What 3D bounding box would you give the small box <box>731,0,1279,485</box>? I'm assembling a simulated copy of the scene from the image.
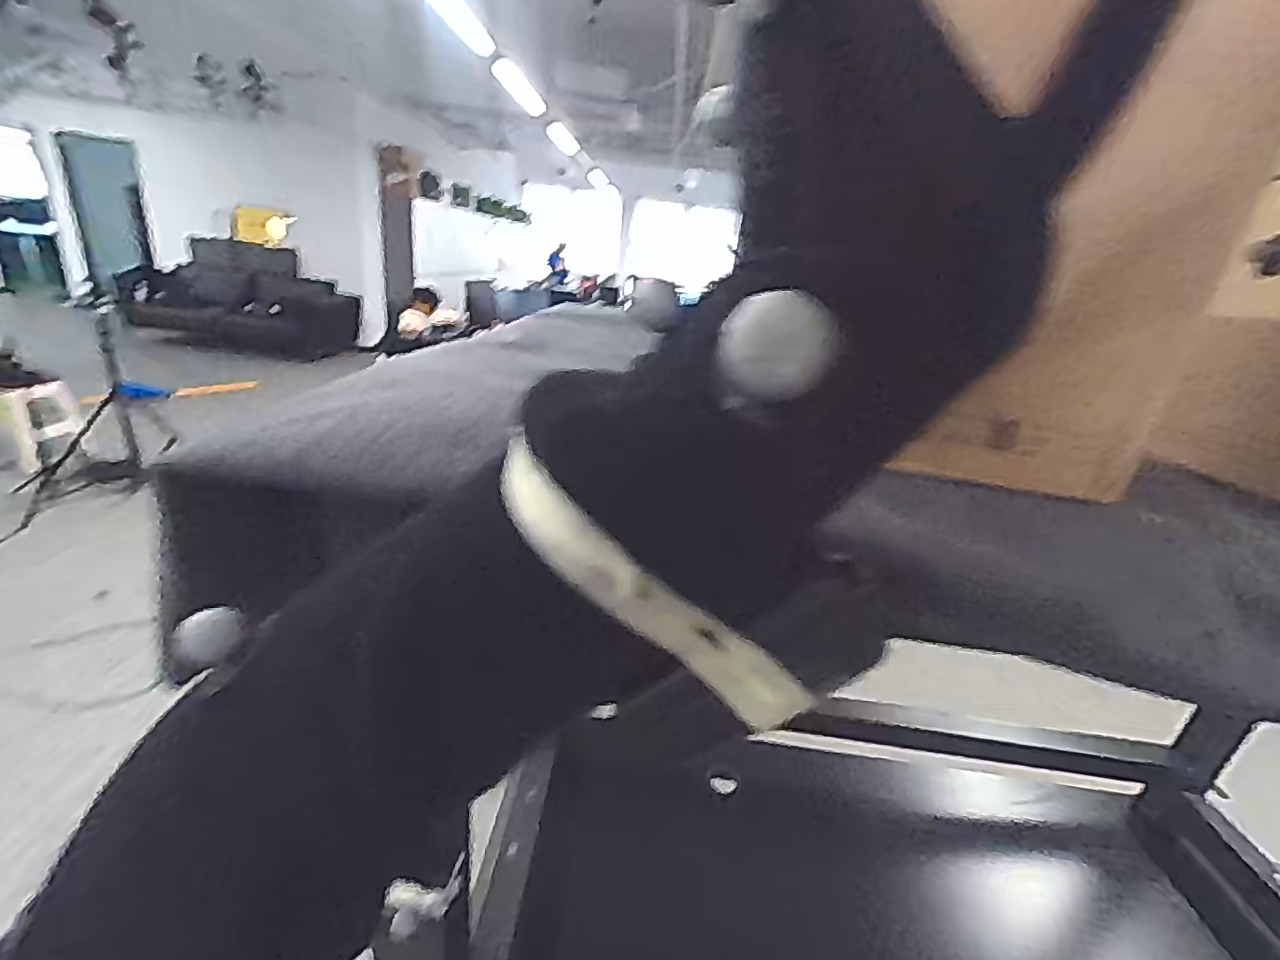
[{"bbox_3d":[0.152,-0.113,0.292,0.168,0.176,0.179,9,21,-1],"label":"small box"}]
